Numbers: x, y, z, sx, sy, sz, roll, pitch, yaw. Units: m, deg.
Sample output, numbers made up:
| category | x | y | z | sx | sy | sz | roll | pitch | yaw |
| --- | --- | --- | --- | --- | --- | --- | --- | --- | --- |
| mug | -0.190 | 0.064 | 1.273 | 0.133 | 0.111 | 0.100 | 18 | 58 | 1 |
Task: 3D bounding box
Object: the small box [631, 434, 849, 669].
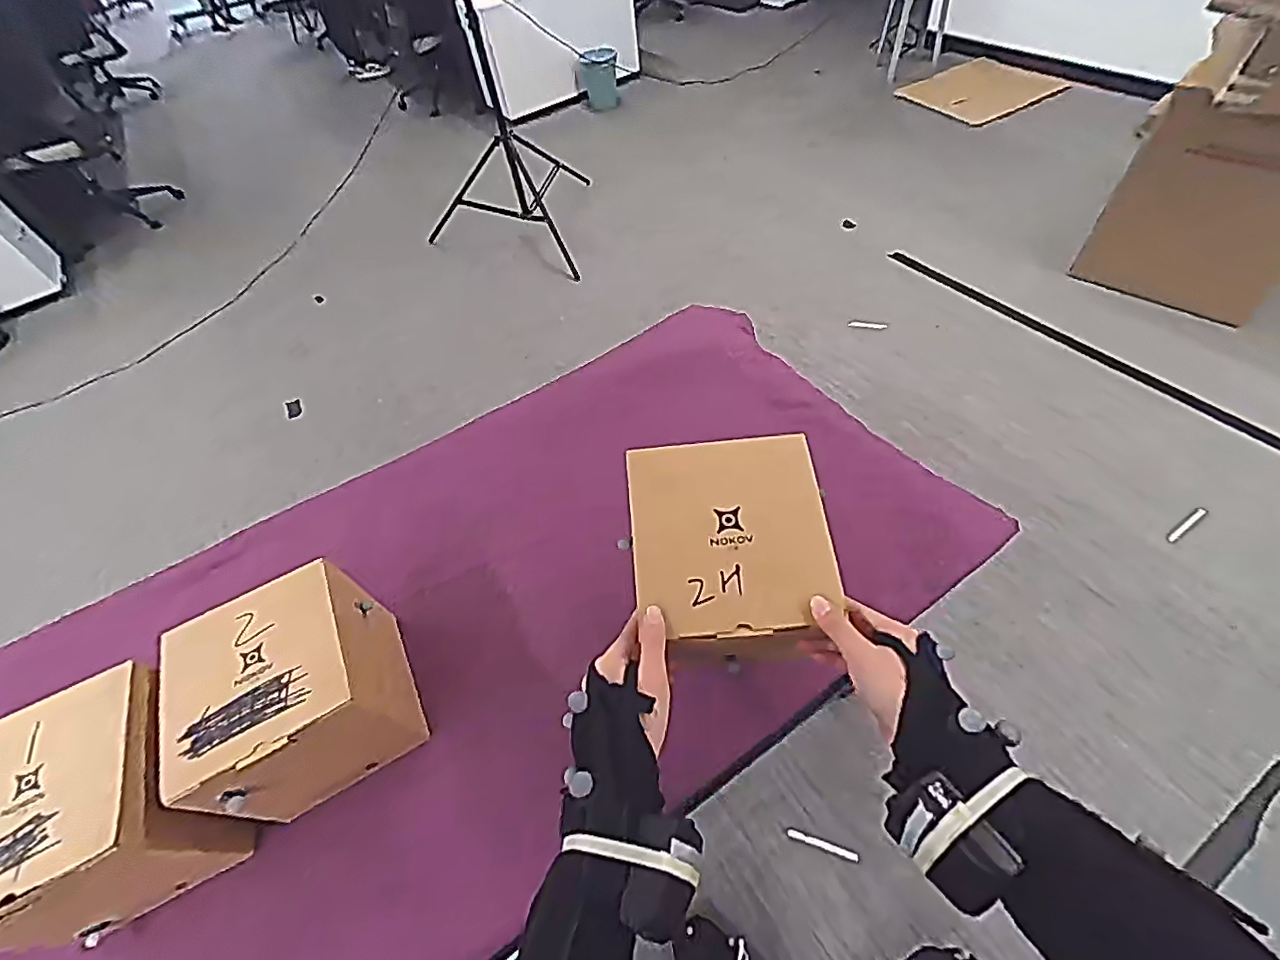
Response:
| category | x | y | z | sx | sy | sz | roll | pitch | yaw |
| --- | --- | --- | --- | --- | --- | --- | --- | --- | --- |
| small box | 0.081 | 0.077 | 0.528 | 0.168 | 0.176 | 0.179 | -5 | 63 | 2 |
